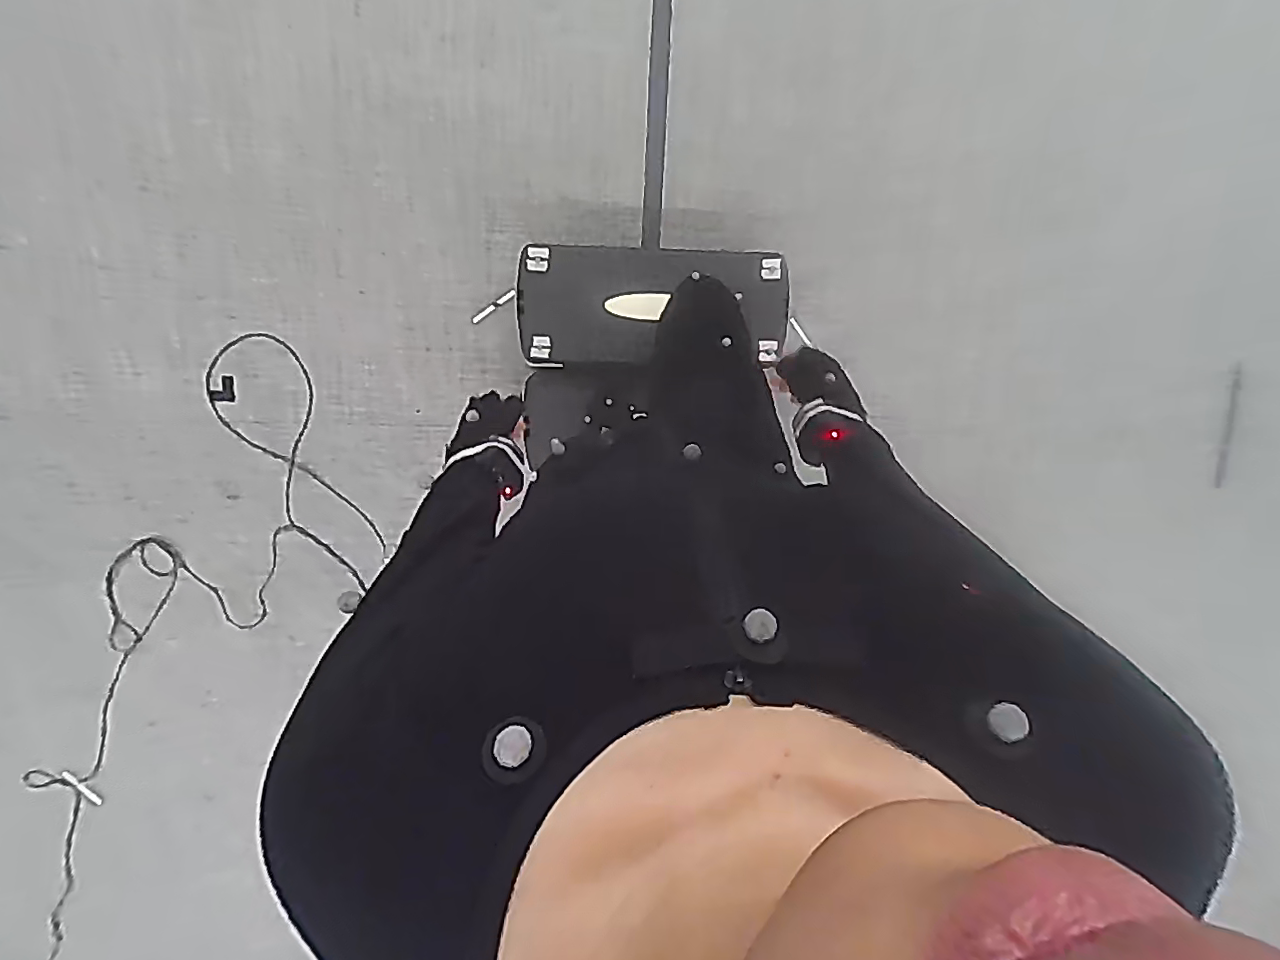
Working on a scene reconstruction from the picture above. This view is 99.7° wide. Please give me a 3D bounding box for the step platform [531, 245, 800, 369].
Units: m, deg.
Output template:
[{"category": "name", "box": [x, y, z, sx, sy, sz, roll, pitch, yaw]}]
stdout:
[{"category": "step platform", "box": [0.063, -0.438, 1.404, 0.684, 0.204, 0.286, -1, 100, -5]}]
